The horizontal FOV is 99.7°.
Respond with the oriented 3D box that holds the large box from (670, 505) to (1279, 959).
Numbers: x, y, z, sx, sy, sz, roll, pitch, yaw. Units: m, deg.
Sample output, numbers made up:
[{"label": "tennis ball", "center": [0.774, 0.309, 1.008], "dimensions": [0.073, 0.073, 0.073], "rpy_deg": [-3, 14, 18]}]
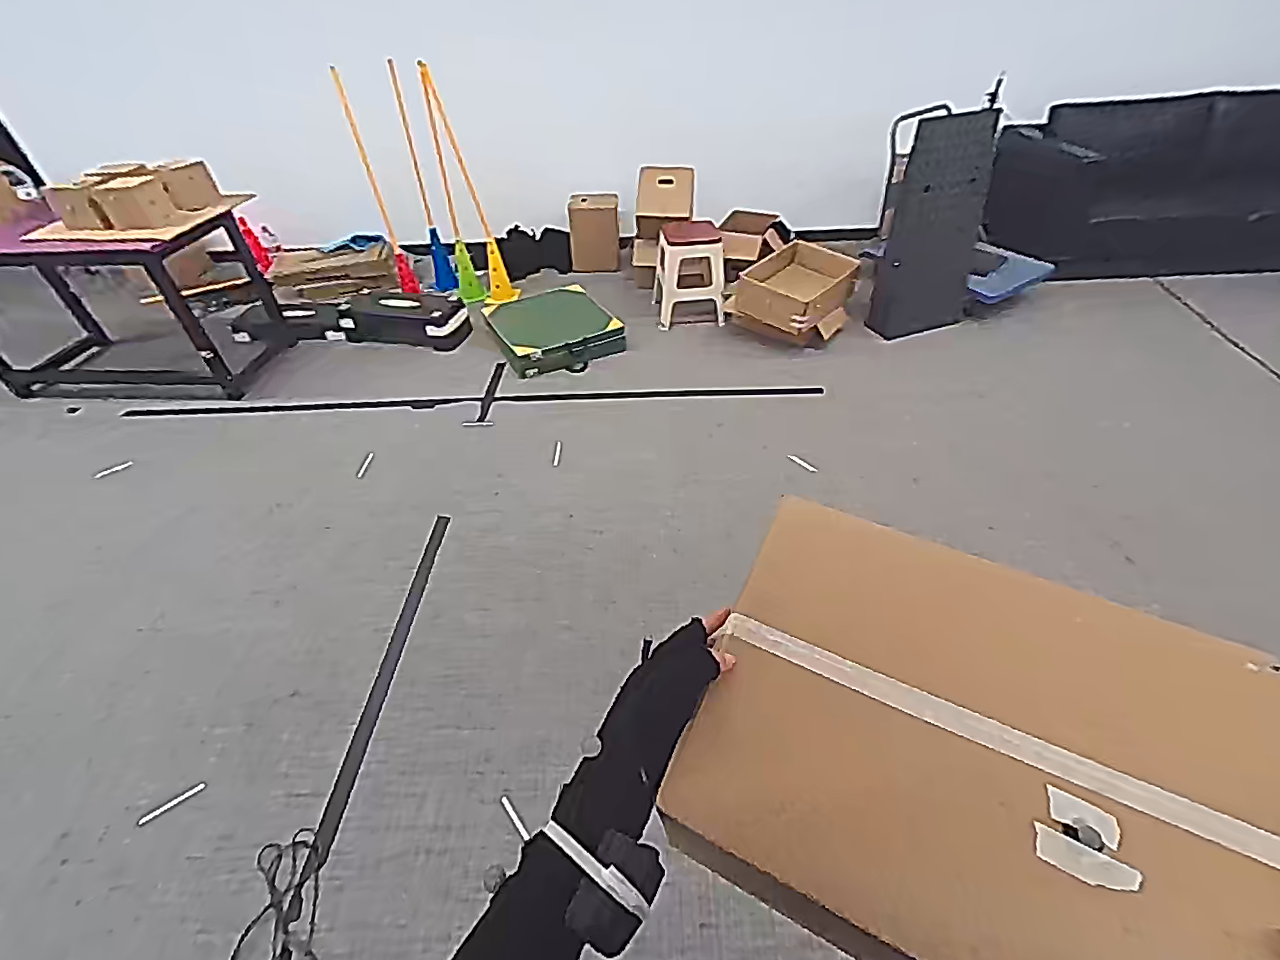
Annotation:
[{"label": "large box", "center": [0.273, 0.286, 0.542], "dimensions": [0.408, 0.320, 0.320], "rpy_deg": [20, 58, 20]}]
